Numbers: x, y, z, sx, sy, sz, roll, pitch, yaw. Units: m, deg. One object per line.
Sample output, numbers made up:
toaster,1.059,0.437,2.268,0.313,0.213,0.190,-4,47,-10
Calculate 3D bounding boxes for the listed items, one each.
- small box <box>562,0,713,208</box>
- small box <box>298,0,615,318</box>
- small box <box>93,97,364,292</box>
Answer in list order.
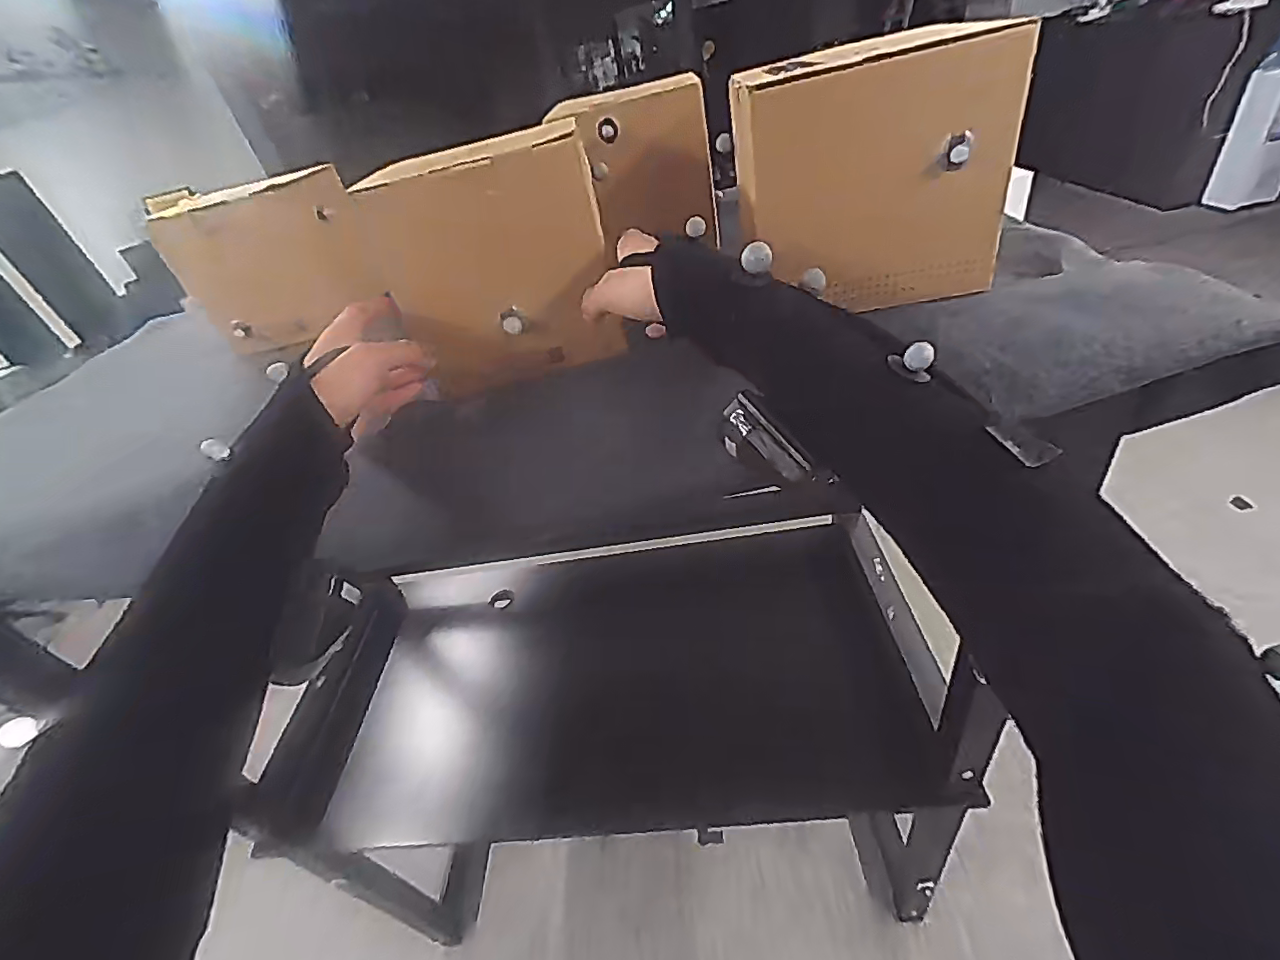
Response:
small box,-0.012,-0.422,0.615,0.168,0.176,0.179,-9,38,7
small box,-0.121,-0.251,0.436,0.168,0.176,0.179,-13,38,3
small box,-0.475,-0.346,0.665,0.168,0.176,0.179,-11,38,4
